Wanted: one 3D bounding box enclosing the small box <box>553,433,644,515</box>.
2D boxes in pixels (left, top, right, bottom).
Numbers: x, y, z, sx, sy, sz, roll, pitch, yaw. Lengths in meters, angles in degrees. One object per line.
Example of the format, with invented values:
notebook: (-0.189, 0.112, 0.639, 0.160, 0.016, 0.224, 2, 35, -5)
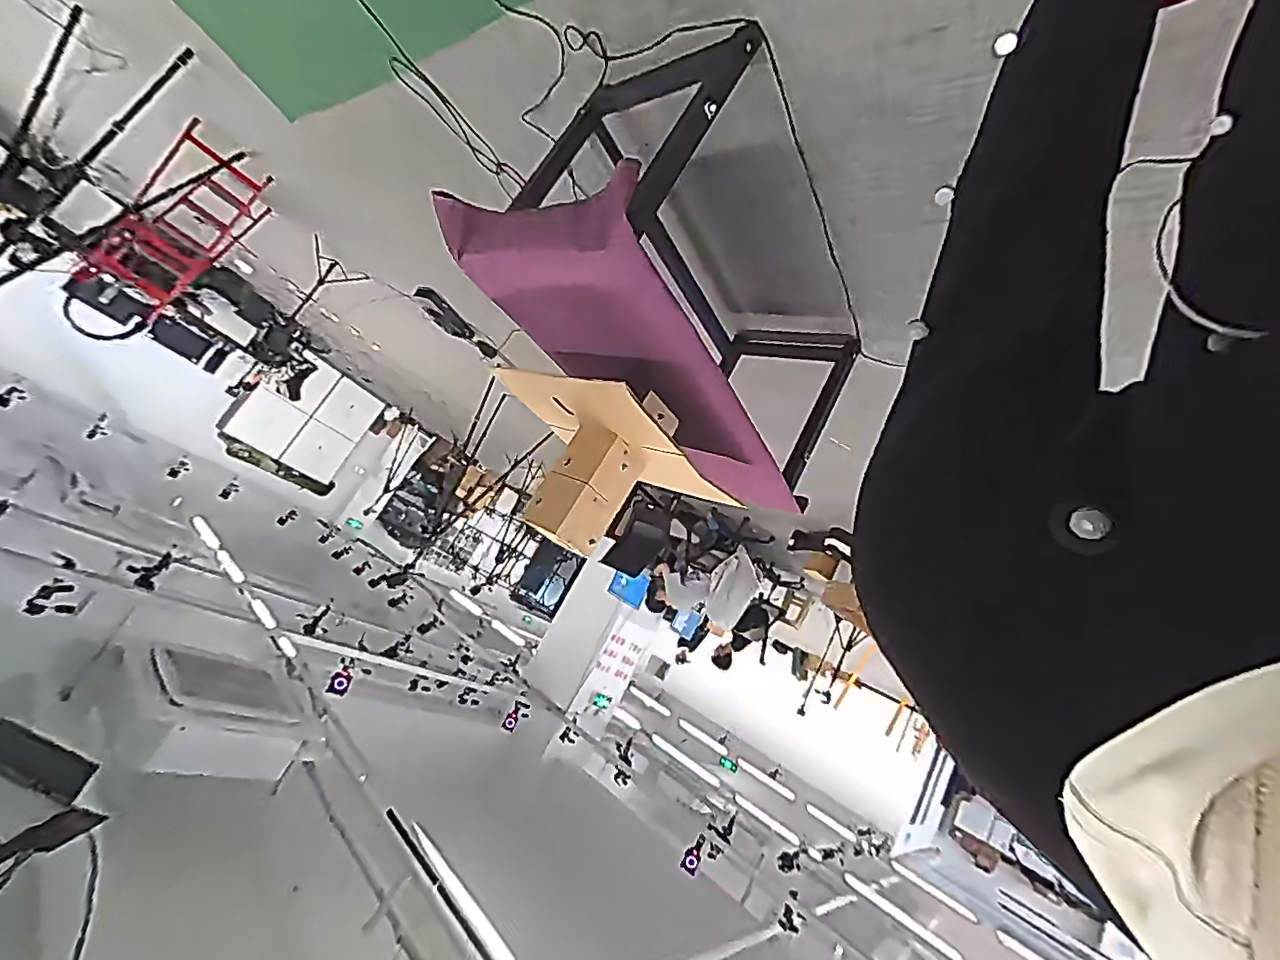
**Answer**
small box: (-0.120, -0.024, 1.620, 0.179, 0.176, 0.168, 16, 159, 41)
